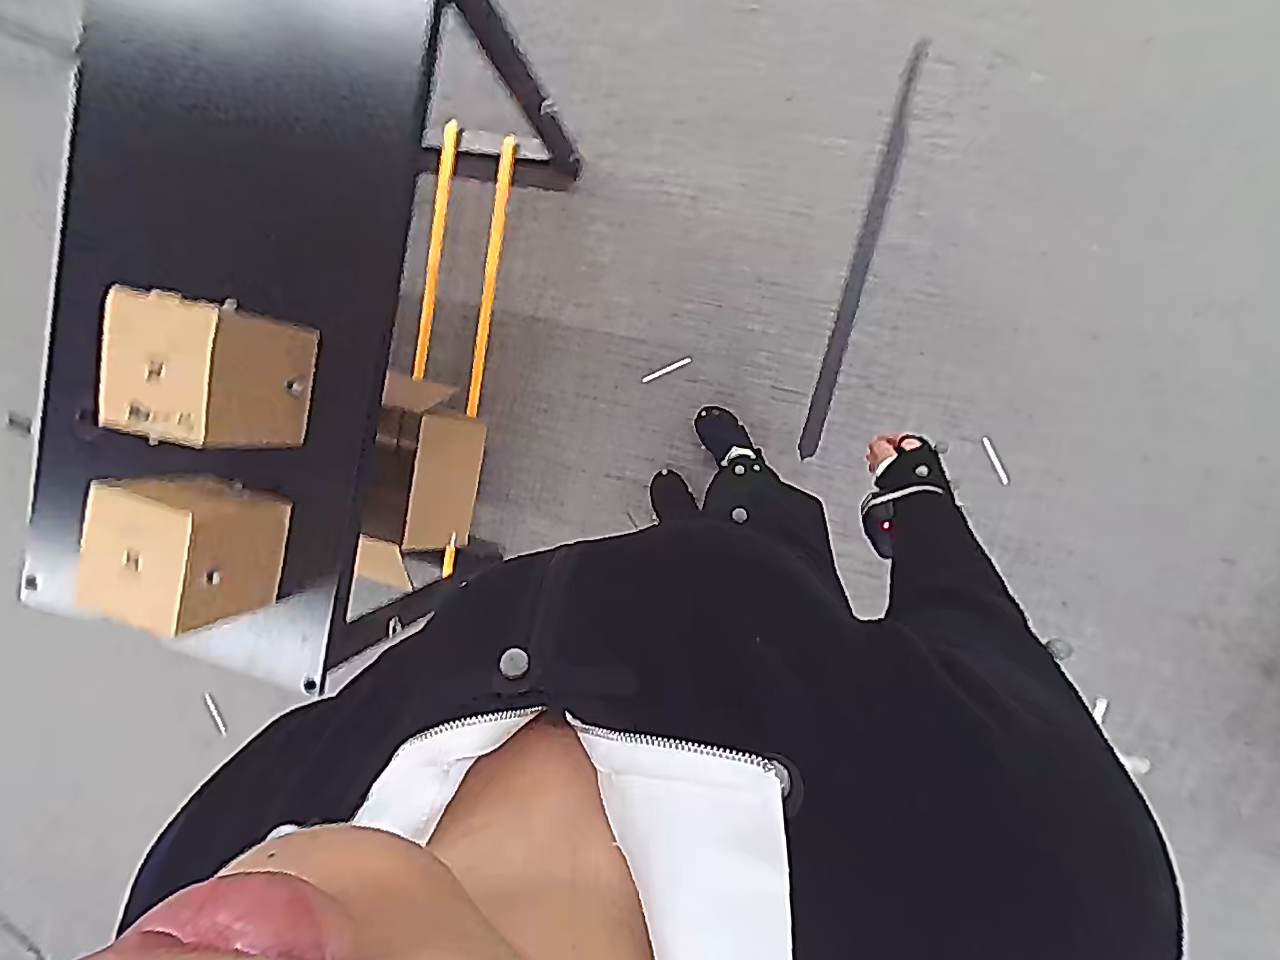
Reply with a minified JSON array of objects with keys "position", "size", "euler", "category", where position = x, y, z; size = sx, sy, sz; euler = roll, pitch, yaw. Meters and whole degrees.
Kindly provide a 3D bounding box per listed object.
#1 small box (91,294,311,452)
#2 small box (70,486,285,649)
[{"position":[-0.601,-0.140,0.760],"size":[0.168,0.176,0.179],"euler":[12,95,9],"category":"small box"},{"position":[-0.659,0.115,0.788],"size":[0.168,0.176,0.179],"euler":[13,95,7],"category":"small box"}]
